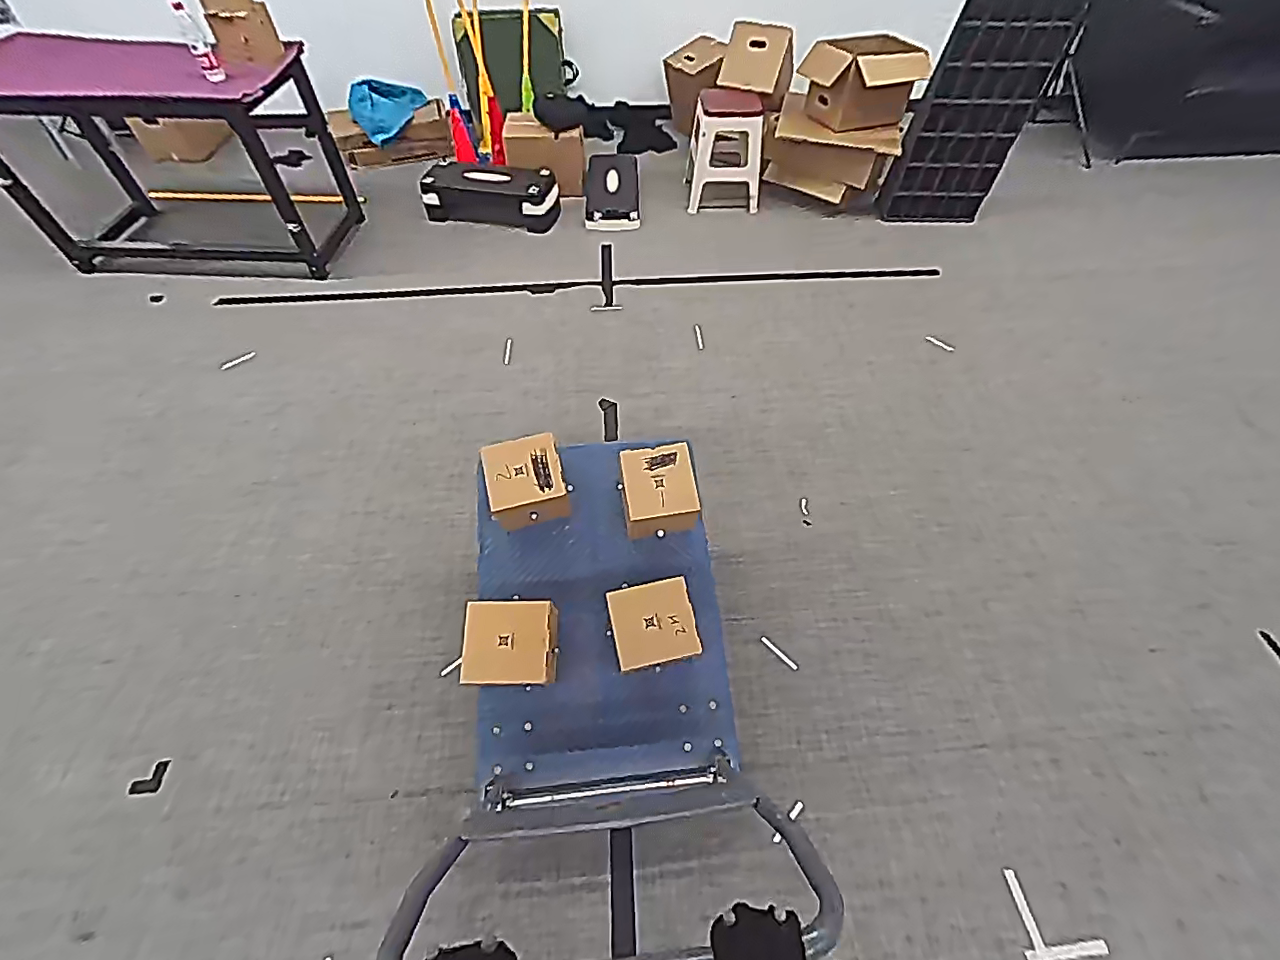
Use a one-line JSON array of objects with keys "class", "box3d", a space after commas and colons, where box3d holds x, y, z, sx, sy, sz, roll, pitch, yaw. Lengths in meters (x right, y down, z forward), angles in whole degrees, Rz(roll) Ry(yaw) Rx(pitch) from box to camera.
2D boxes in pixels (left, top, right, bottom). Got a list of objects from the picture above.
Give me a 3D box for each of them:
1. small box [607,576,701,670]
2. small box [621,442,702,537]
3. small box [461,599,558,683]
[{"class": "small box", "box3d": [0.027, 0.326, 1.215, 0.179, 0.176, 0.168, -11, 70, -6]}, {"class": "small box", "box3d": [0.045, 0.027, 1.331, 0.168, 0.176, 0.179, -8, 70, -5]}, {"class": "small box", "box3d": [-0.279, 0.358, 1.193, 0.179, 0.176, 0.168, 1, 69, -4]}]
